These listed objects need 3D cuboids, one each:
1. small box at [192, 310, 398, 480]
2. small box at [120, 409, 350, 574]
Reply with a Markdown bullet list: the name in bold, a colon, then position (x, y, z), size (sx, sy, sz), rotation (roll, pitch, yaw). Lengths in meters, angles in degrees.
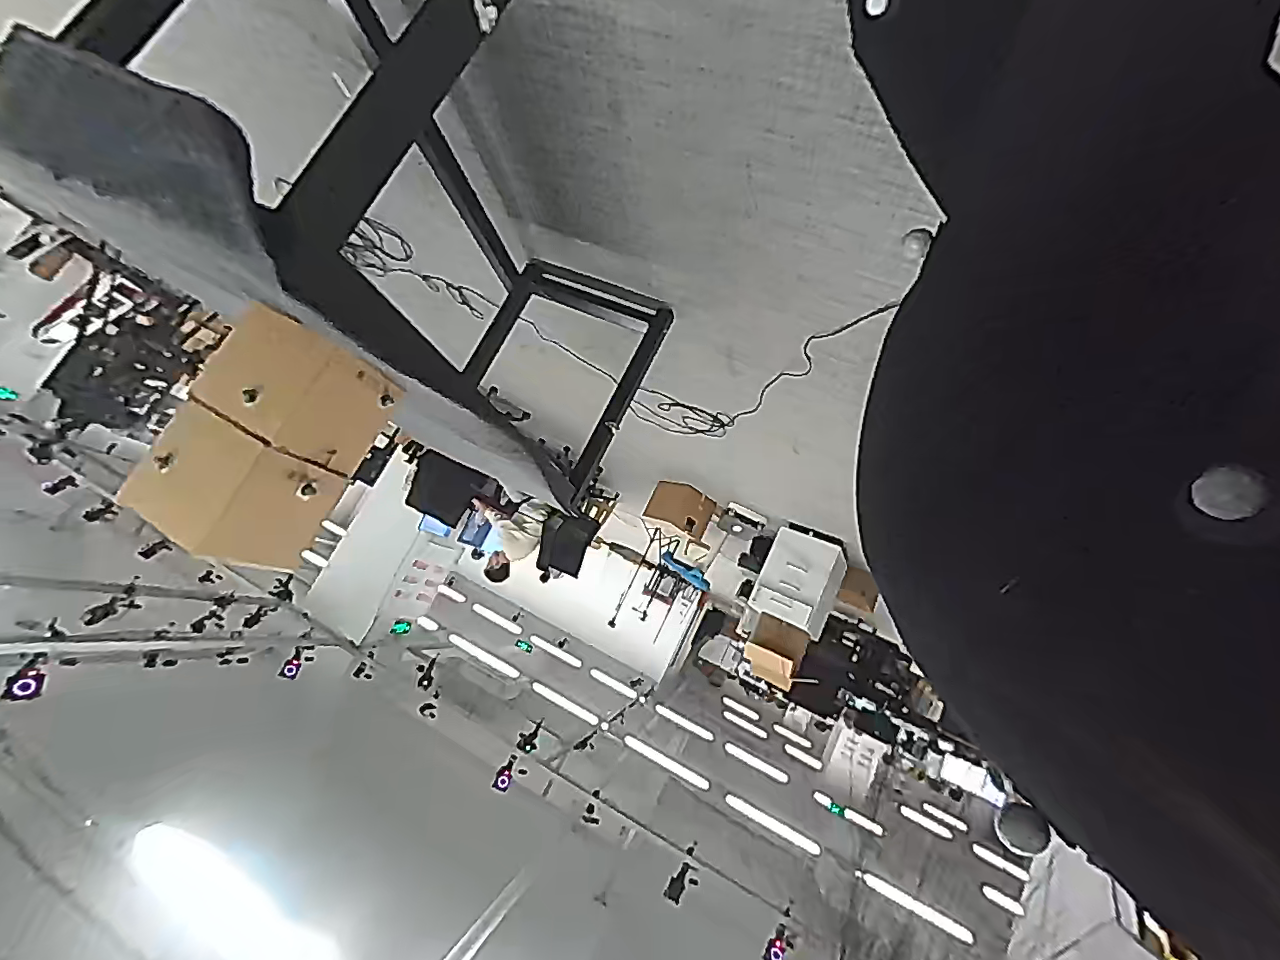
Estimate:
- **small box**: position (-0.499, -0.127, 0.816), size (0.179, 0.176, 0.168), rotation (27, 170, 14)
- **small box**: position (-0.572, 0.016, 0.787), size (0.179, 0.176, 0.168), rotation (25, 171, 18)
